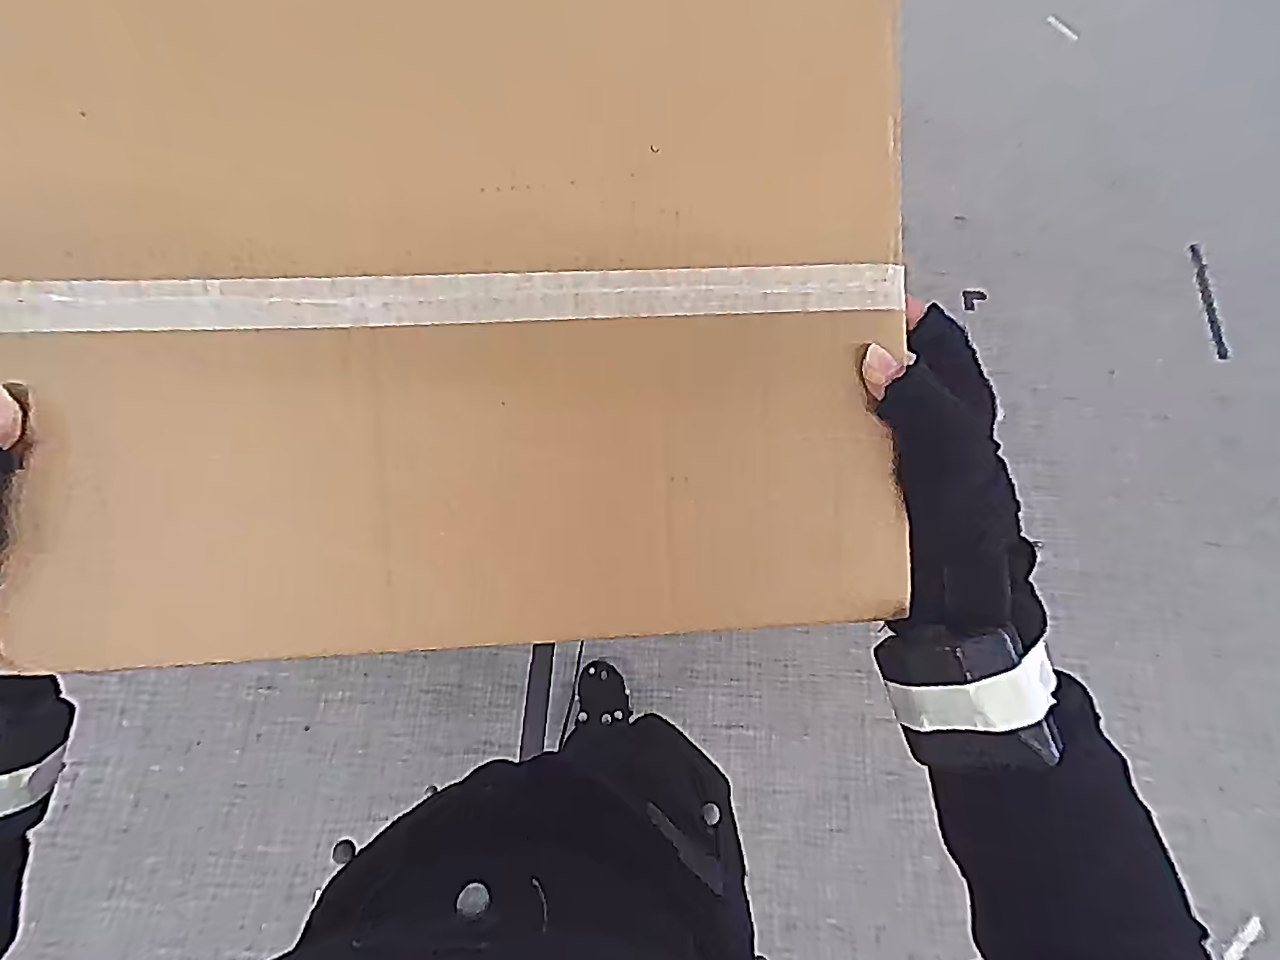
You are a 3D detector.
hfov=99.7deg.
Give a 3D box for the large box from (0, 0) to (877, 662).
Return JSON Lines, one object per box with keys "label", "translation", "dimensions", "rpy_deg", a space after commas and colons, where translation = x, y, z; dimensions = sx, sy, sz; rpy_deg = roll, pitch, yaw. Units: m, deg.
{"label": "large box", "translation": [-0.092, -0.087, 0.400], "dimensions": [0.408, 0.320, 0.320], "rpy_deg": [-2, 92, -5]}
